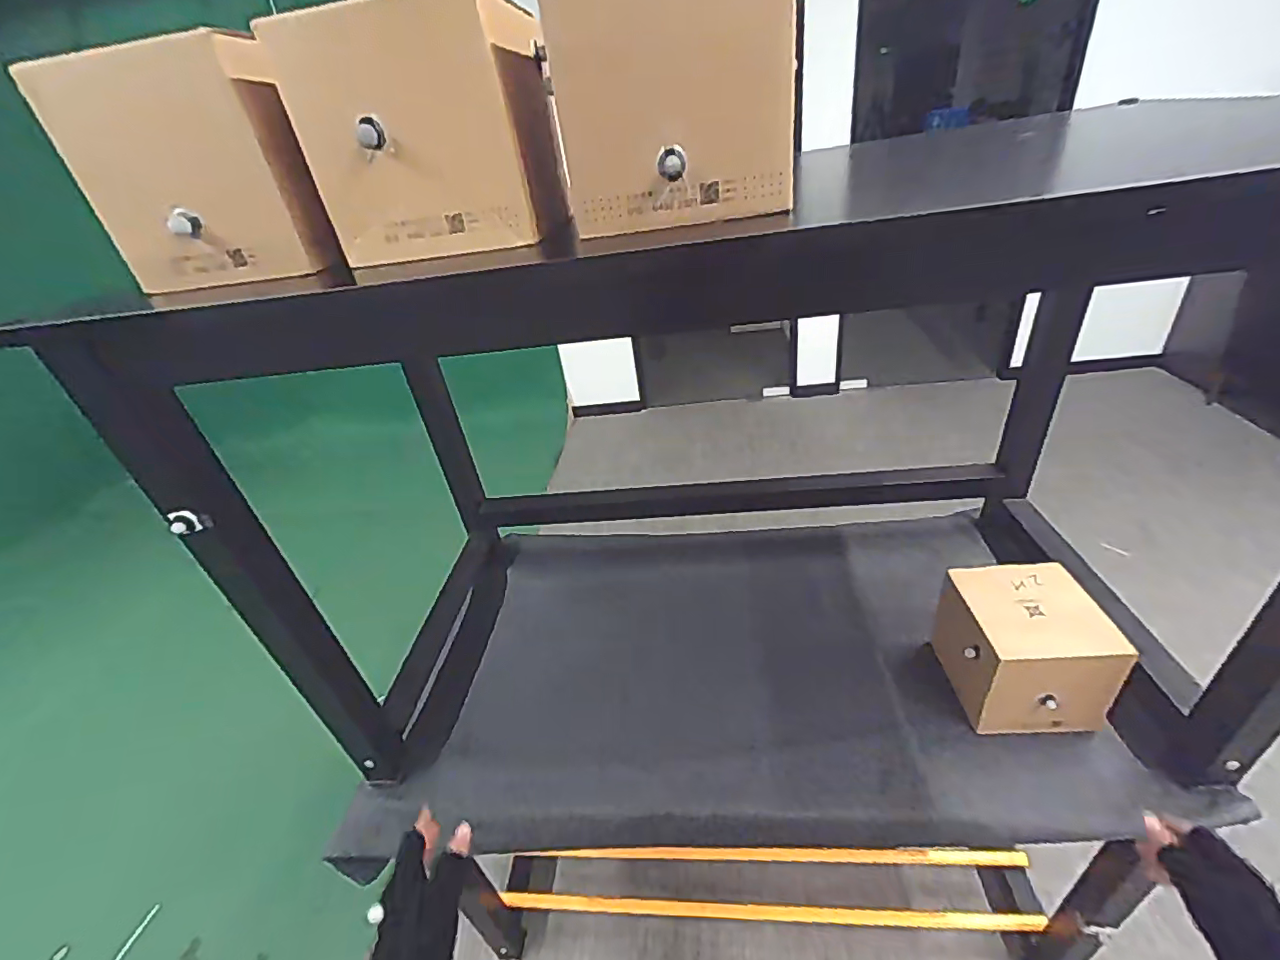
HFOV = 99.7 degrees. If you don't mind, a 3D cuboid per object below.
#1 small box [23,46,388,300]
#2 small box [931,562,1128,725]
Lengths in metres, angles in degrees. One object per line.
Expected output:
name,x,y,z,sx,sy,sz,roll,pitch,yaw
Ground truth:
small box,-0.366,-0.279,0.505,0.168,0.176,0.179,-5,34,7
small box,0.561,0.247,0.809,0.168,0.176,0.179,-5,32,7
